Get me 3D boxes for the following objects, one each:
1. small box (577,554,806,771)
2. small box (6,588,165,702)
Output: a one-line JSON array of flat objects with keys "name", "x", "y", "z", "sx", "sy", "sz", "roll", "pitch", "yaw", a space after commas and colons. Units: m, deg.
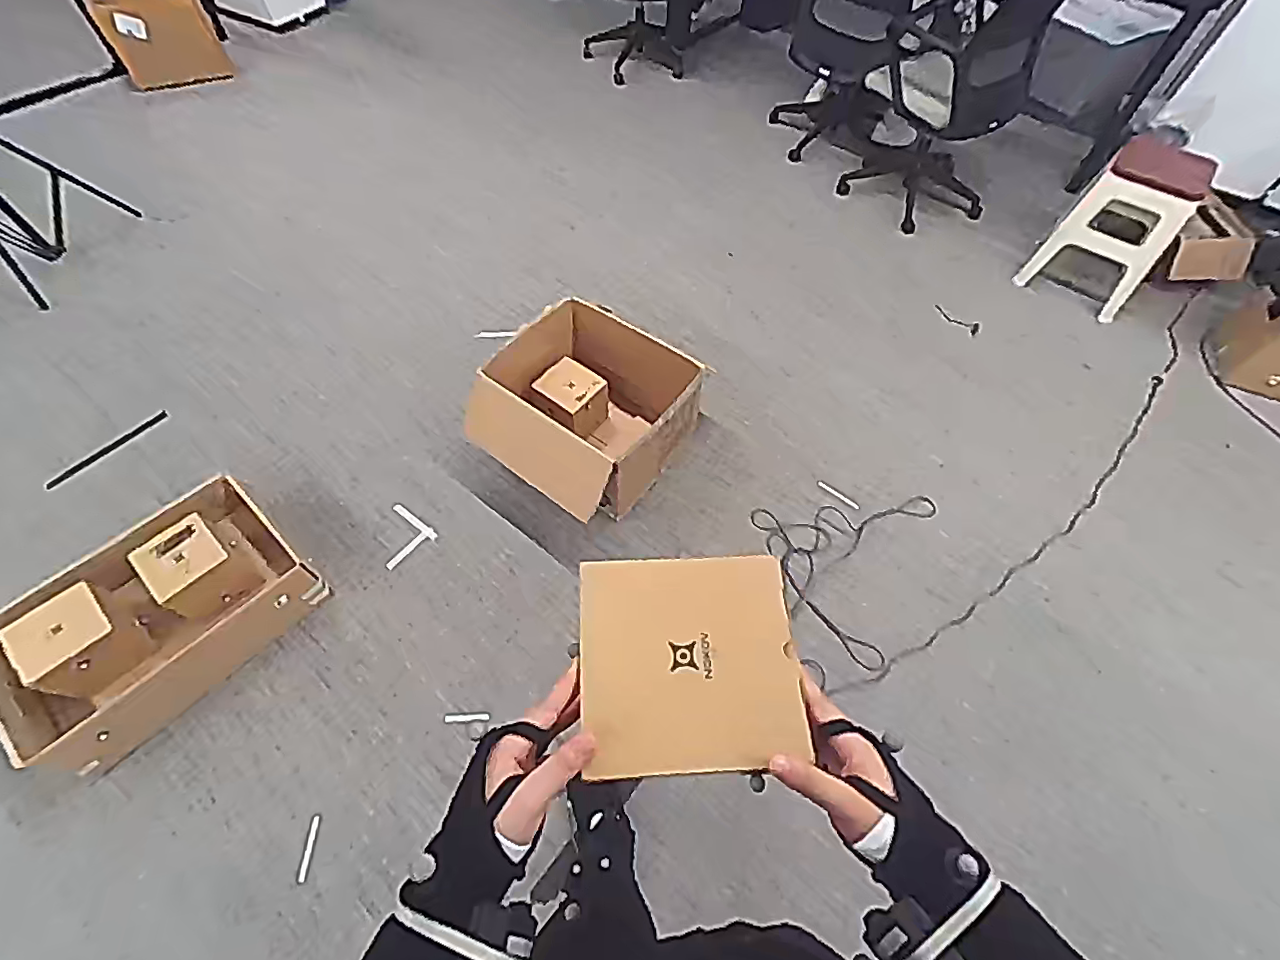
[{"name": "small box", "x": 0.034, "y": 0.178, "z": 0.510, "sx": 0.179, "sy": 0.176, "sz": 0.168, "roll": -1, "pitch": 62, "yaw": -4}, {"name": "small box", "x": -1.289, "y": 0.393, "z": 1.270, "sx": 0.168, "sy": 0.176, "sz": 0.179, "roll": 40, "pitch": 63, "yaw": 18}]
